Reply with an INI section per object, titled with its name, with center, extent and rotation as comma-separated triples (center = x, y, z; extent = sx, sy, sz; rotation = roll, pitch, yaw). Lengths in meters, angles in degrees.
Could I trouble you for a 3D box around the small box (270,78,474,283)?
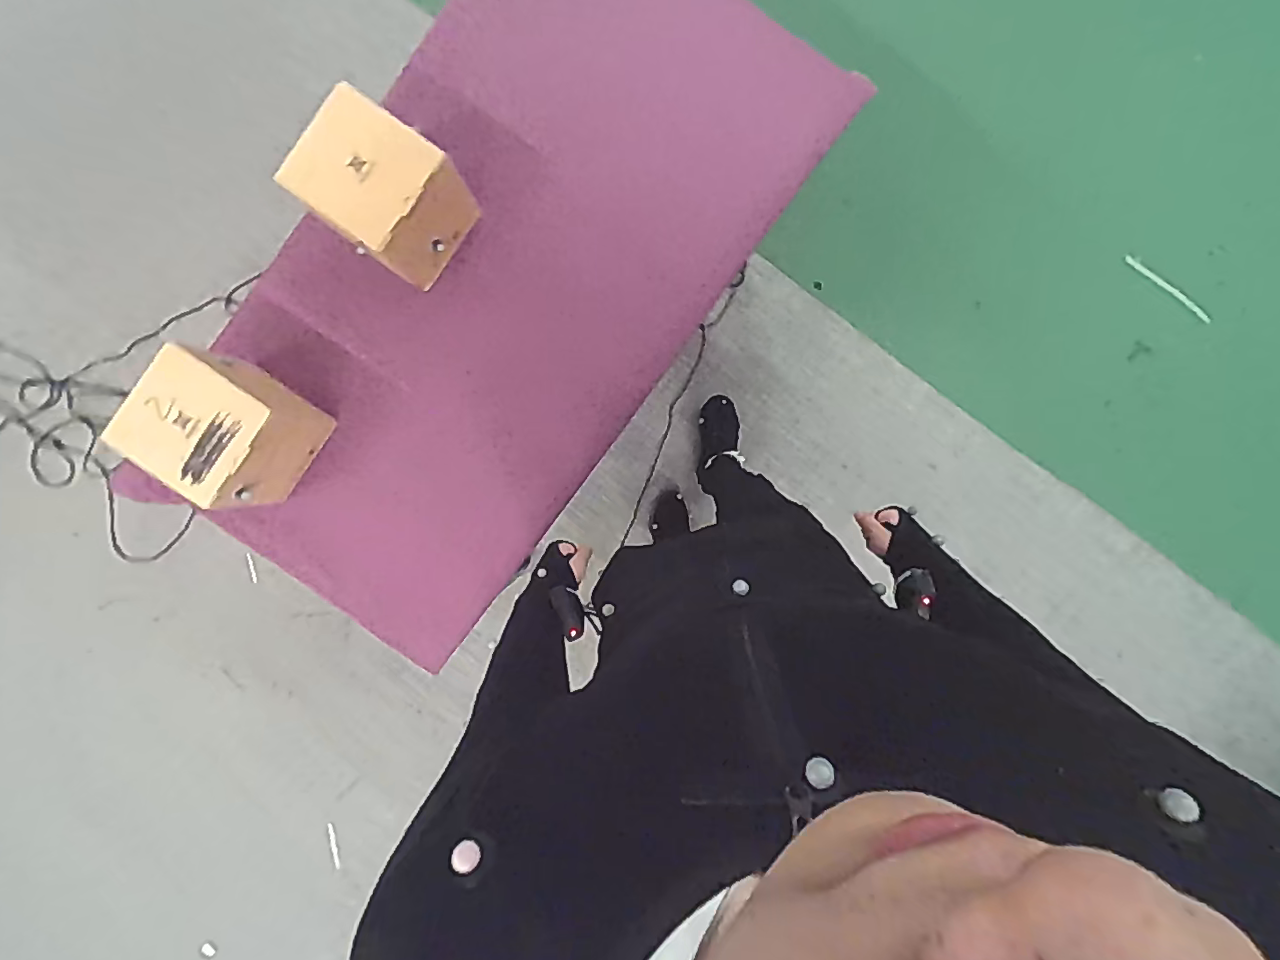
[small box]
center = -0.381, -0.425, 0.802
extent = 0.179, 0.176, 0.168
rotation = 34, 90, -2
